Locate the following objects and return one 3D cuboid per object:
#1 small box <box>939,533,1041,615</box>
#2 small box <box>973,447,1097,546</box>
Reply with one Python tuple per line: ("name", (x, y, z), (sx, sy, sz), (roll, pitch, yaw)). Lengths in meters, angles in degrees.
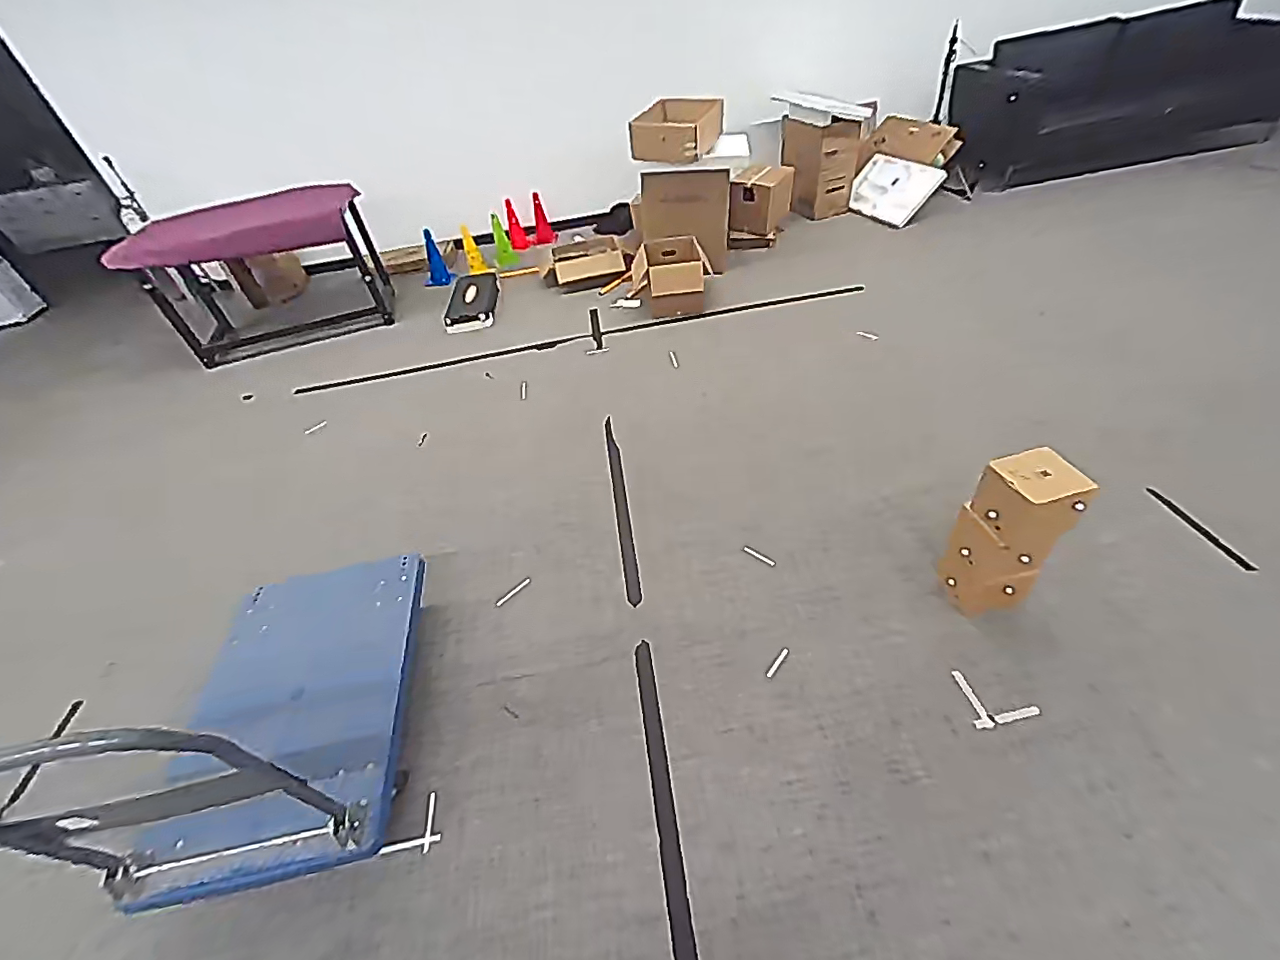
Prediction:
("small box", (1.045, 0.283, 1.631), (0.179, 0.176, 0.168), (-12, 43, -3))
("small box", (1.012, 0.045, 1.405), (0.179, 0.176, 0.168), (-15, 42, -5))
